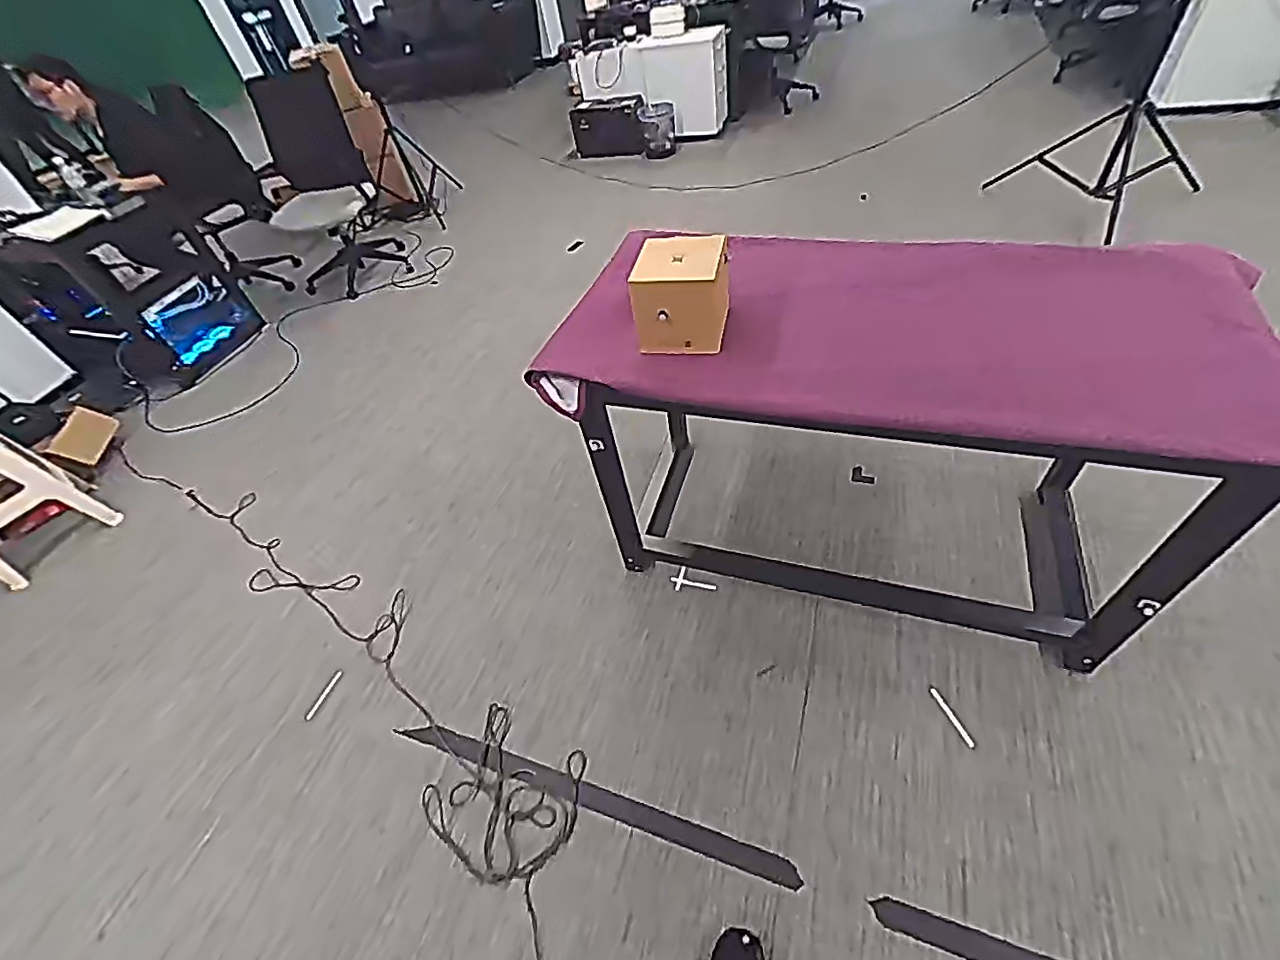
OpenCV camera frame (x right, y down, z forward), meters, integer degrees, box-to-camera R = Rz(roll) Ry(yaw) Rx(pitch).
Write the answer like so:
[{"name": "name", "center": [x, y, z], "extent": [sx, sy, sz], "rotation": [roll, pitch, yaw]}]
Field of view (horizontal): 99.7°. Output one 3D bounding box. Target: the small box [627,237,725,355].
[{"name": "small box", "center": [0.083, -0.371, 1.107], "extent": [0.168, 0.176, 0.179], "rotation": [4, 49, 15]}]
